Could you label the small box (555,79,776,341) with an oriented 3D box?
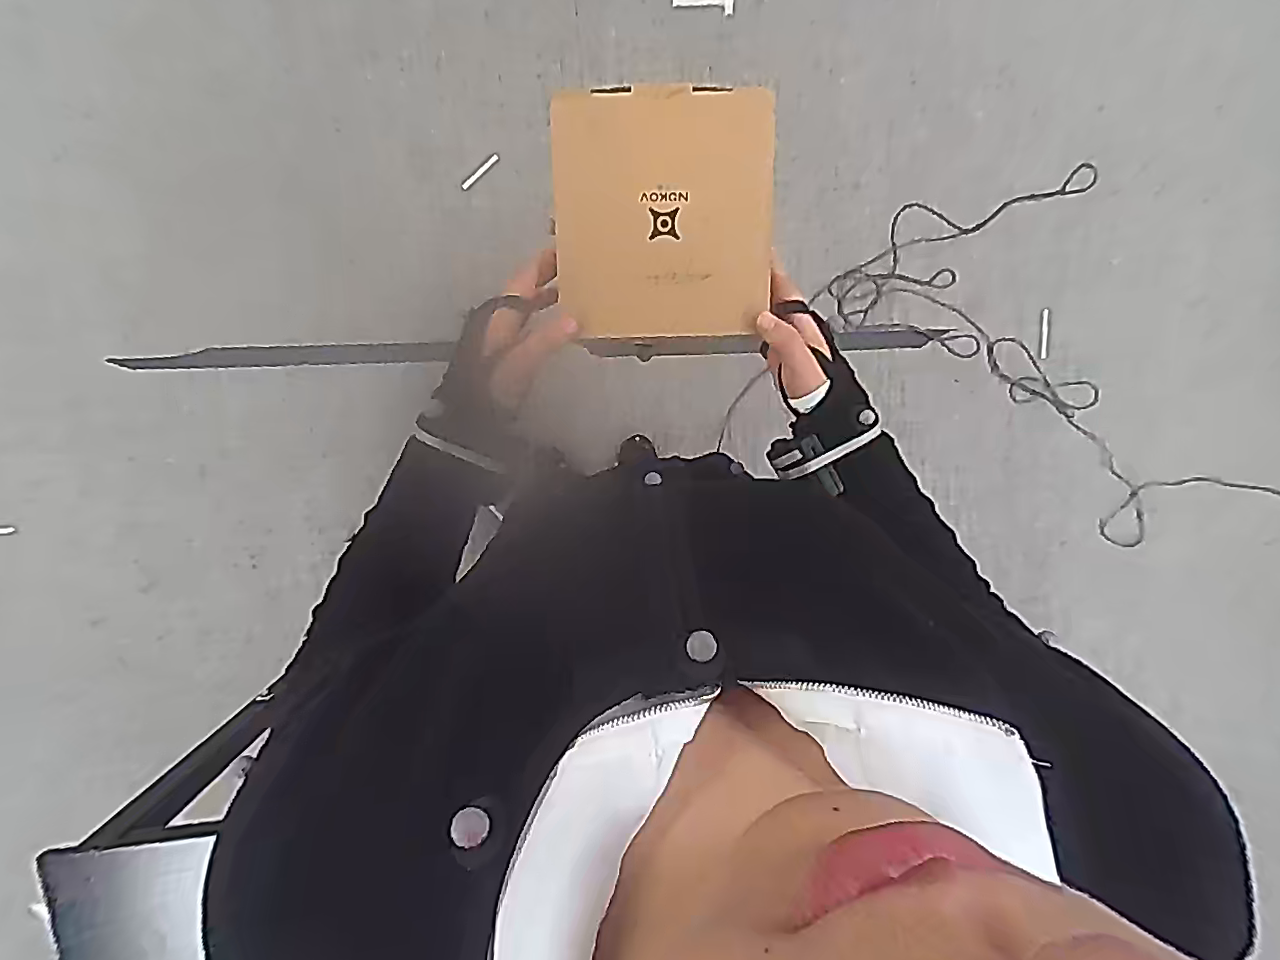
[{"bbox_3d":[0.016,-0.220,0.486,0.168,0.176,0.179,-2,102,-1],"label":"small box"}]
